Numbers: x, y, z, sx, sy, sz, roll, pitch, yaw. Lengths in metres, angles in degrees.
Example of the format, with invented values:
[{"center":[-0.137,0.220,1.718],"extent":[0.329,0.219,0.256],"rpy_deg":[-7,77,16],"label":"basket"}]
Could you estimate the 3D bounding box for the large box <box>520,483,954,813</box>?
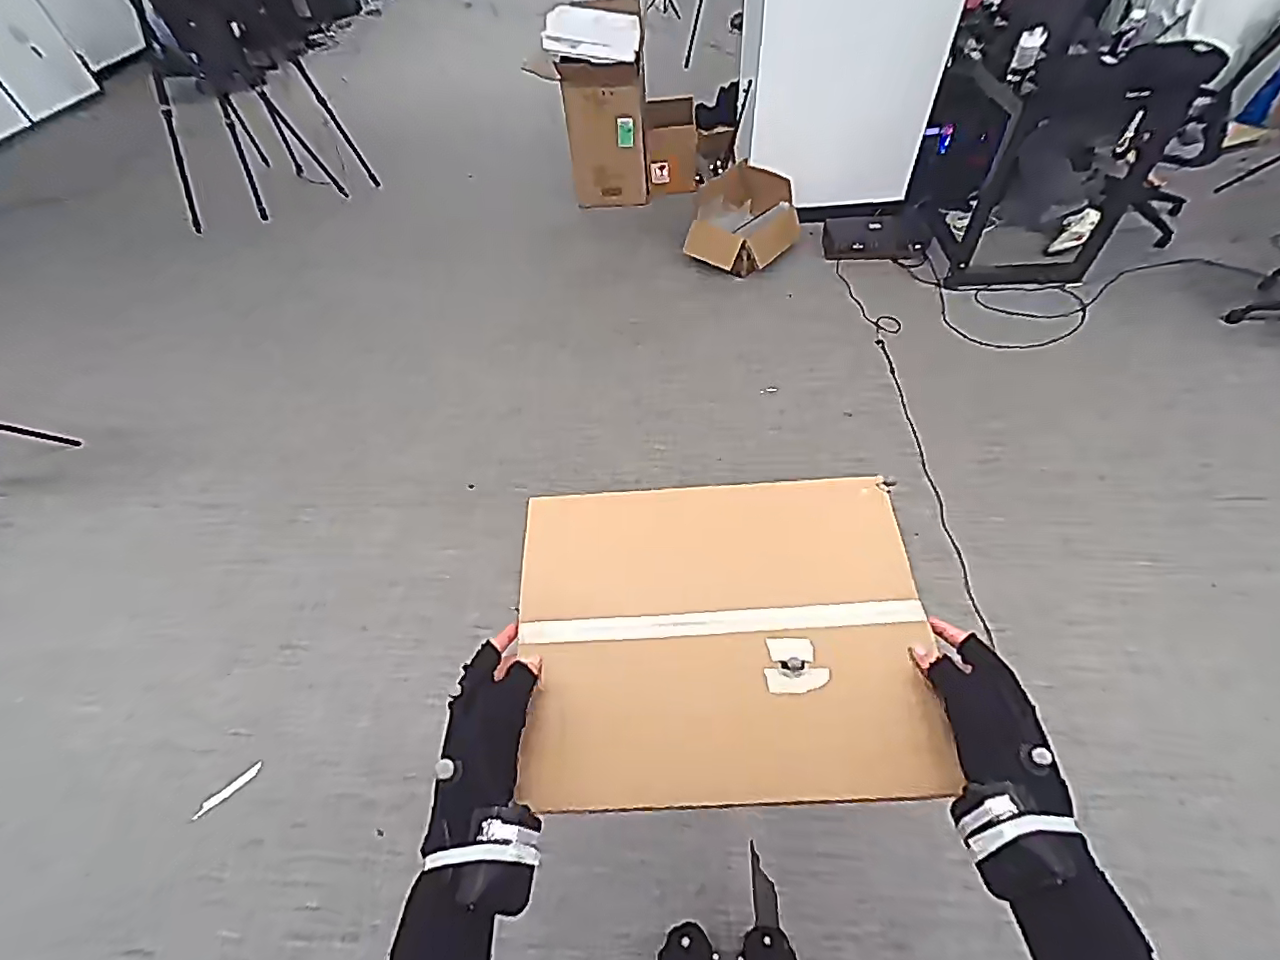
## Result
[{"center":[0.084,0.226,0.689],"extent":[0.408,0.320,0.320],"rpy_deg":[-4,61,1],"label":"large box"}]
